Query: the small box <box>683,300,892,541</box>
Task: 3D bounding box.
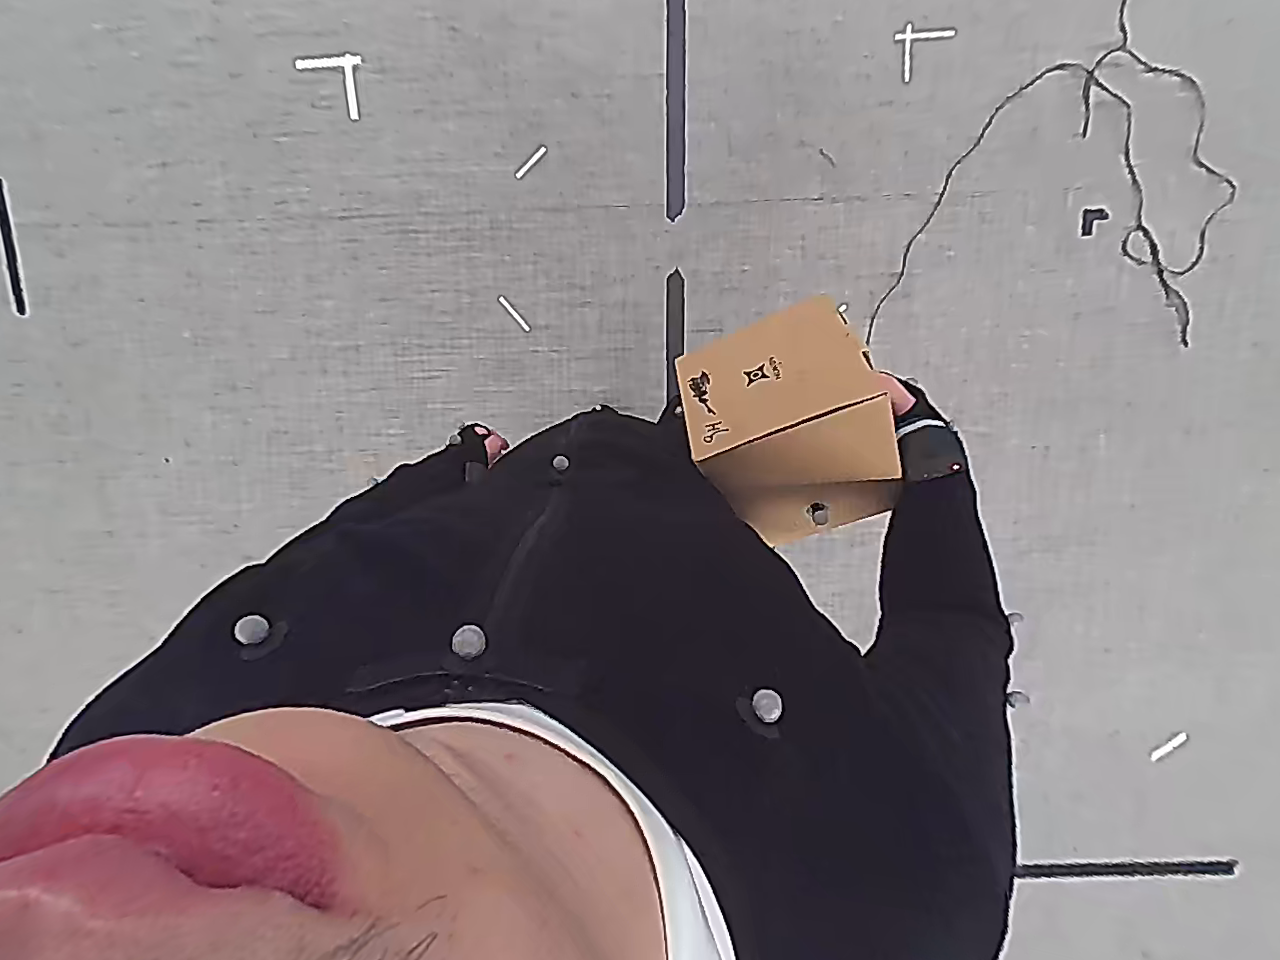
[{"bbox_3d":[0.164,-0.058,0.597,0.179,0.168,0.176,-19,135,16],"label":"small box"}]
